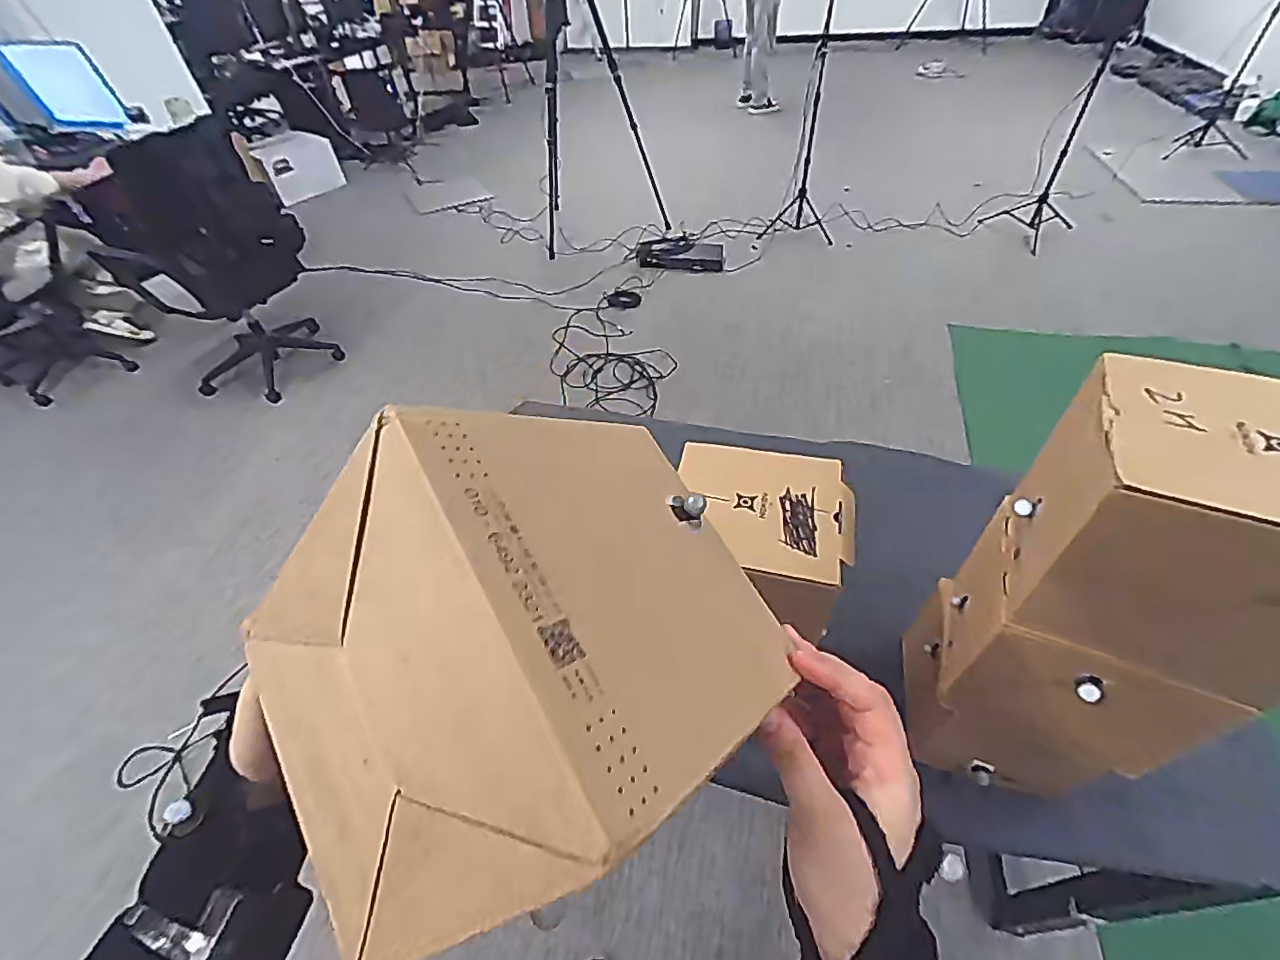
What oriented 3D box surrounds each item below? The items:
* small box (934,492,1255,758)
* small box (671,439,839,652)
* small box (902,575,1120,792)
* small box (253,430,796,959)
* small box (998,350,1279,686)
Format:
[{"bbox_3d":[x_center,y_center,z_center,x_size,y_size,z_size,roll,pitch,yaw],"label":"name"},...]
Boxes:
[{"bbox_3d":[0.417,0.145,0.532,0.179,0.176,0.168,16,50,21],"label":"small box"},{"bbox_3d":[0.116,0.079,0.614,0.179,0.176,0.168,9,47,13],"label":"small box"},{"bbox_3d":[0.431,0.247,0.658,0.168,0.176,0.179,8,48,13],"label":"small box"},{"bbox_3d":[-0.062,0.086,0.273,0.176,0.179,0.168,-5,56,-55],"label":"small box"},{"bbox_3d":[0.411,0.030,0.414,0.179,0.176,0.168,18,50,22],"label":"small box"}]
